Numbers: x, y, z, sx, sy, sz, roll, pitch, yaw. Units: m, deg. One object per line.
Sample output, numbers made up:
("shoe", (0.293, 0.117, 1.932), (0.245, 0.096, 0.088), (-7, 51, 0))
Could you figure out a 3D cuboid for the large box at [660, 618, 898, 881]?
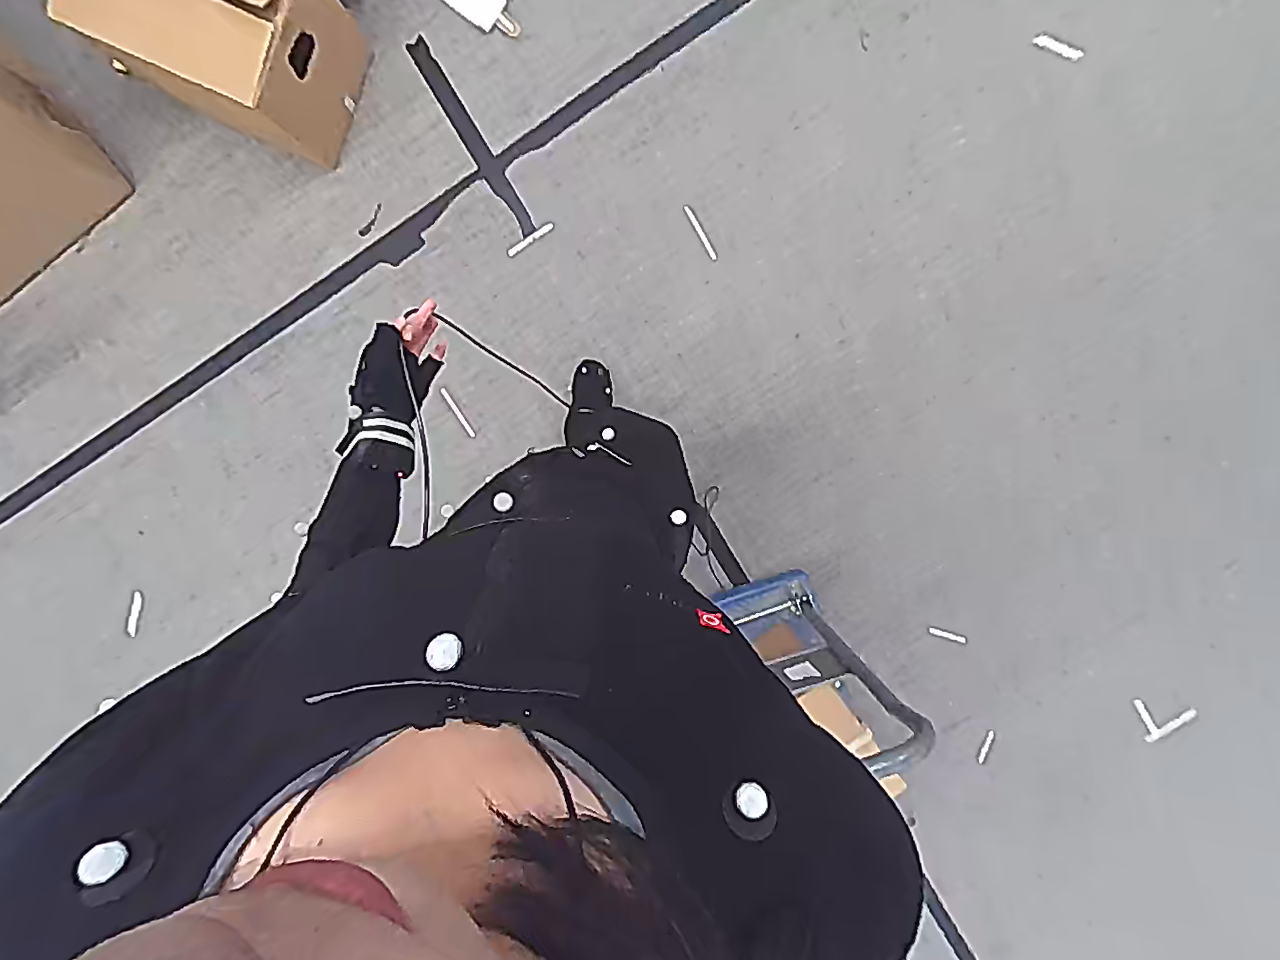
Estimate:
("large box", (0.300, 0.610, 1.282), (0.408, 0.320, 0.320), (-37, 97, 4))
